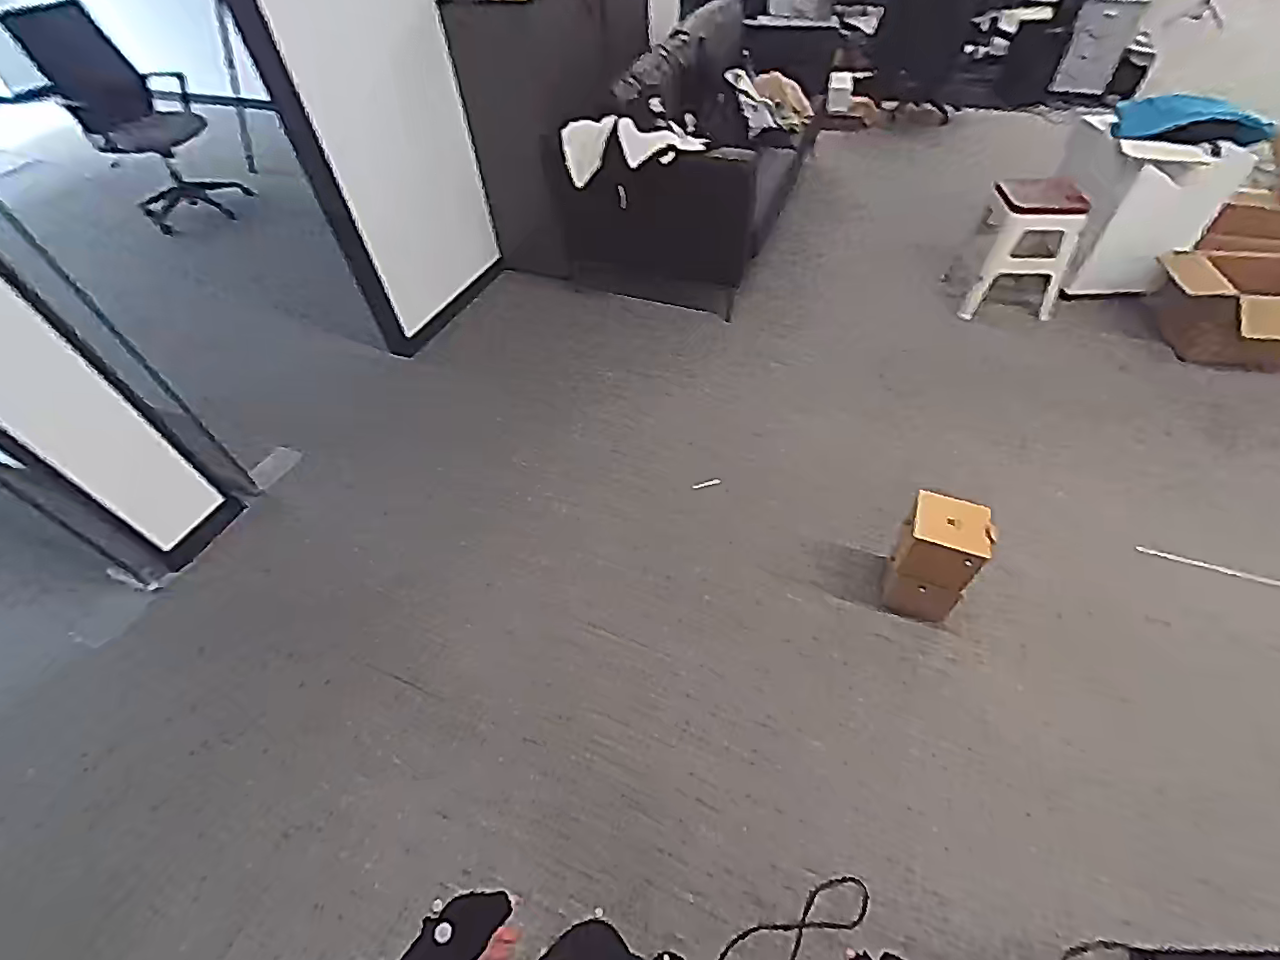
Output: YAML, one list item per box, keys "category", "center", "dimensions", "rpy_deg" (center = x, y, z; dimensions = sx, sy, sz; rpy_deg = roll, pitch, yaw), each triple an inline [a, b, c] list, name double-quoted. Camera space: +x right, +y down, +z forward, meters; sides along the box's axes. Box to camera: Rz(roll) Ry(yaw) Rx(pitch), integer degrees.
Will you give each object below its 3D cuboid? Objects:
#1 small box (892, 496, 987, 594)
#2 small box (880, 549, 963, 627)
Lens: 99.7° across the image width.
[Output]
- category: "small box"
  center: [0.783, 0.175, 1.423]
  dimensions: [0.179, 0.176, 0.168]
  rpy_deg: [16, 52, 16]
- category: "small box"
  center: [0.800, 0.287, 1.541]
  dimensions: [0.168, 0.176, 0.179]
  rpy_deg: [16, 51, 16]
